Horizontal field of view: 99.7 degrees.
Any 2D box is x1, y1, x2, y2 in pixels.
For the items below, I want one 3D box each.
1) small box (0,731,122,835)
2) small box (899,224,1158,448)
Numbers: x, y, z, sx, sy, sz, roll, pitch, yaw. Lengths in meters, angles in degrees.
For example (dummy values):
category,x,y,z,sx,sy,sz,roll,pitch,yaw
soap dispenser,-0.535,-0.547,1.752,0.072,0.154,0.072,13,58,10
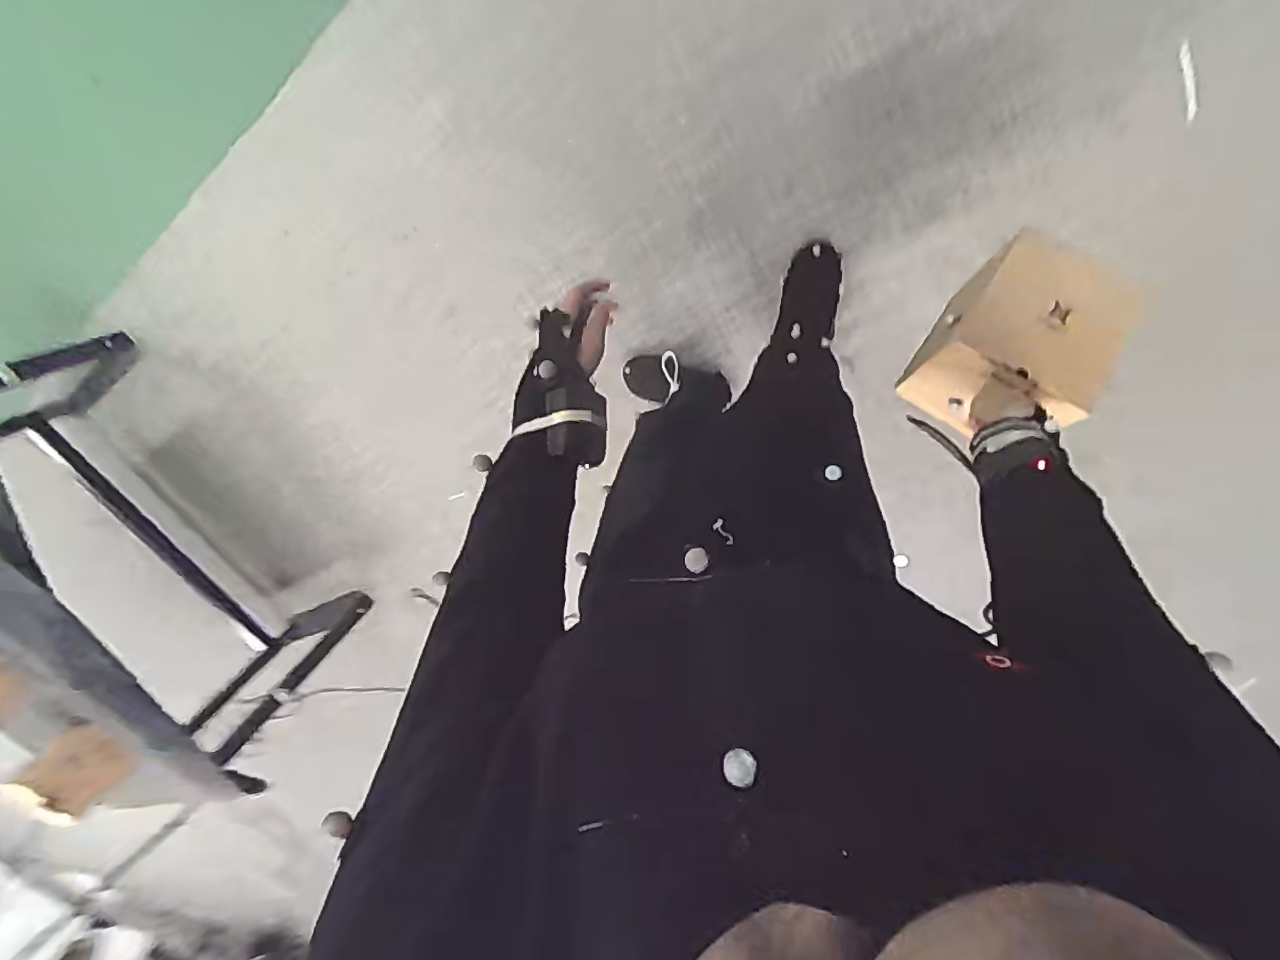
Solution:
category,x,y,z,sx,sy,sz,roll,pitch,yaw
small box,-1.459,0.748,1.344,0.179,0.176,0.168,-17,113,26
small box,0.461,-0.166,0.673,0.168,0.176,0.179,33,83,7
